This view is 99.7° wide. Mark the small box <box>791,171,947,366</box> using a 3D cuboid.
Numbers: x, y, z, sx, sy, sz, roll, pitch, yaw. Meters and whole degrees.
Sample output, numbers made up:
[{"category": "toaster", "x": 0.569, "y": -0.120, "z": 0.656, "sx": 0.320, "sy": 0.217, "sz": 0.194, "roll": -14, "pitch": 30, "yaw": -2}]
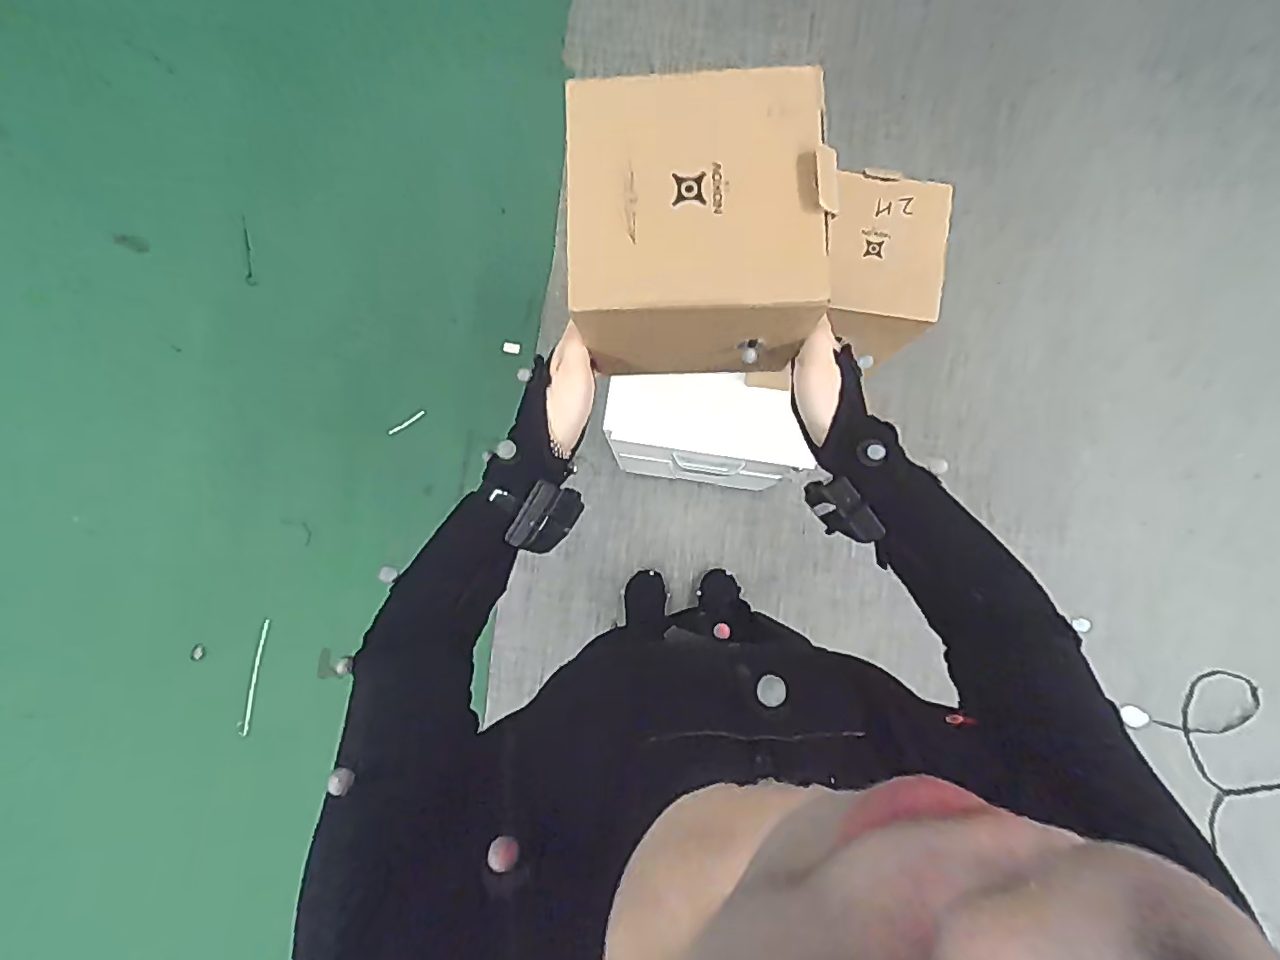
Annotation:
[{"category": "small box", "x": 0.273, "y": -0.266, "z": 0.716, "sx": 0.168, "sy": 0.176, "sz": 0.179, "roll": 9, "pitch": 83, "yaw": 2}]

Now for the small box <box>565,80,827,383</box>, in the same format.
[{"category": "small box", "x": 0.041, "y": -0.181, "z": 0.444, "sx": 0.179, "sy": 0.176, "sz": 0.168, "roll": -1, "pitch": 85, "yaw": 4}]
